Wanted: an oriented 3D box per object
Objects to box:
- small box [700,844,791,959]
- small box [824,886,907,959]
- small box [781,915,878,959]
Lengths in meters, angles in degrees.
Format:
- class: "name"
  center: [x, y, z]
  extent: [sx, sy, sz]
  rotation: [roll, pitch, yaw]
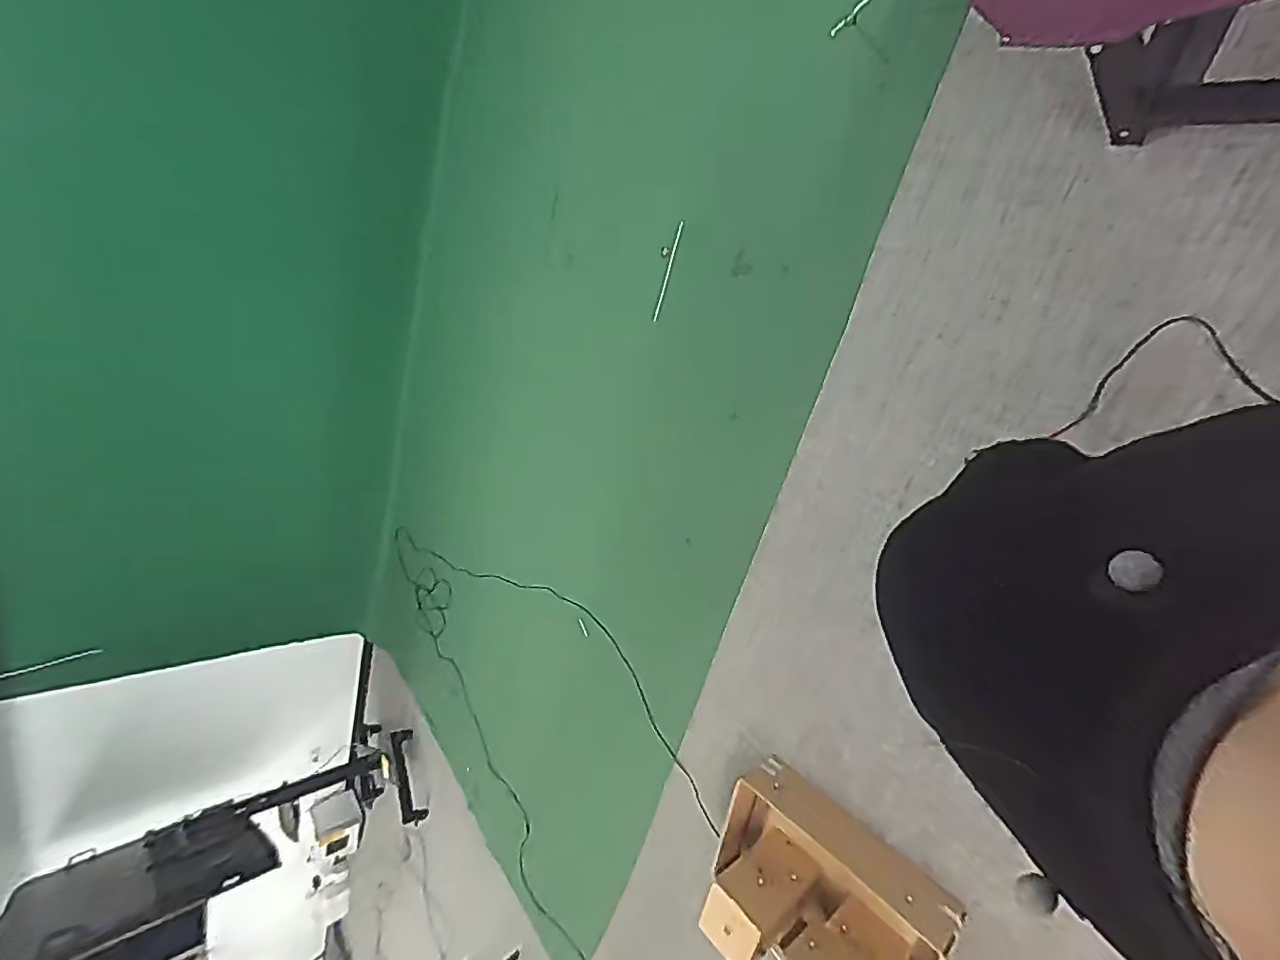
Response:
- class: "small box"
  center: [0.303, 1.198, 1.539]
  extent: [0.168, 0.176, 0.179]
  rotation: [28, 110, 41]
- class: "small box"
  center: [0.595, 1.273, 1.476]
  extent: [0.179, 0.176, 0.168]
  rotation: [27, 109, 44]
- class: "small box"
  center: [0.475, 1.256, 1.367]
  extent: [0.179, 0.176, 0.168]
  rotation: [4, 92, 47]
